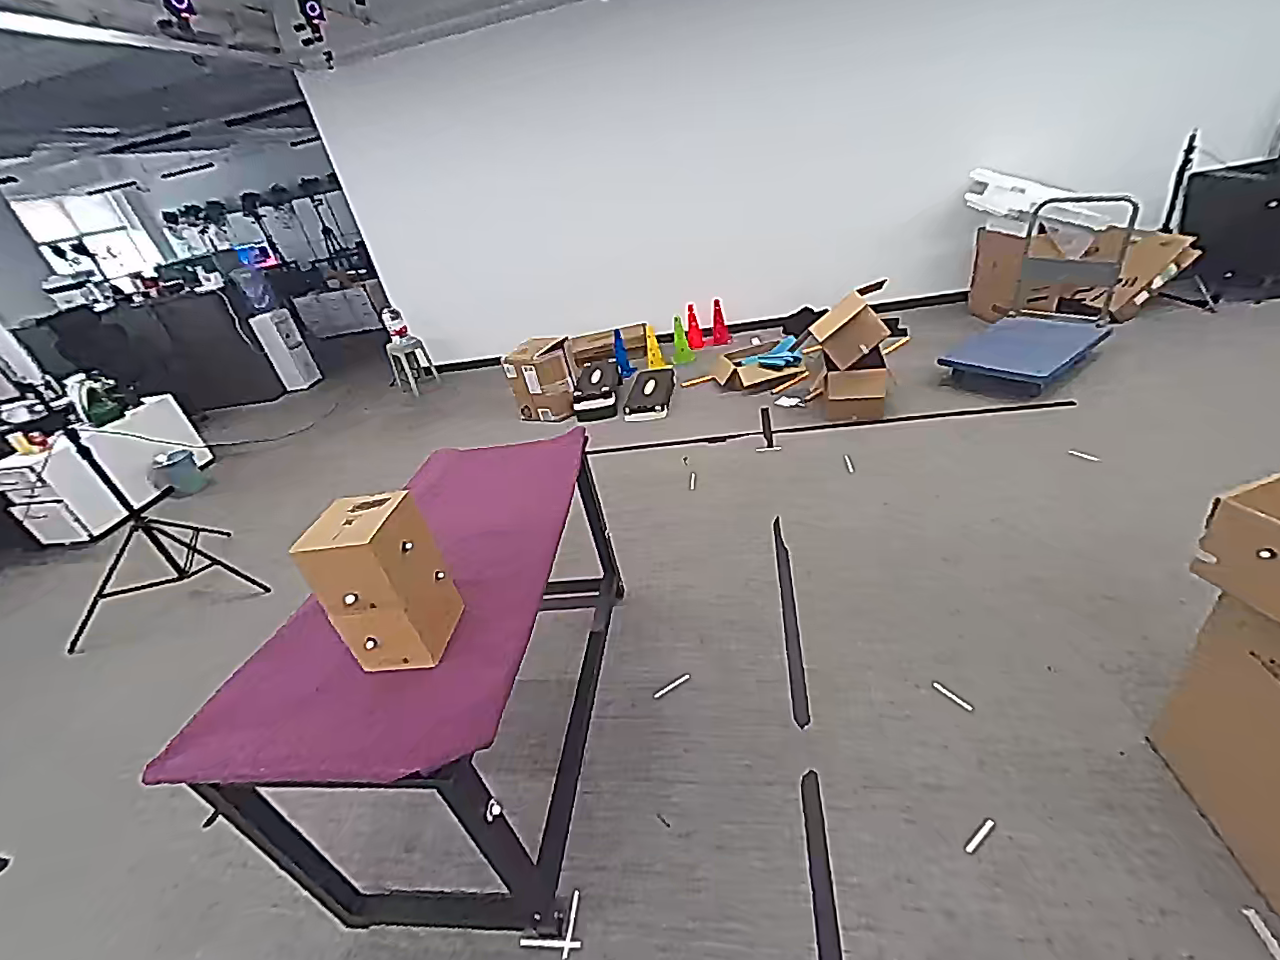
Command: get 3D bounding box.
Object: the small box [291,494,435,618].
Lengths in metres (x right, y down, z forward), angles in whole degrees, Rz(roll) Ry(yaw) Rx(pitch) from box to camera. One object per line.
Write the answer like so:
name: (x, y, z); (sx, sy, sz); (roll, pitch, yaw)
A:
small box: (-0.533, 0.150, 1.074); (0.168, 0.176, 0.179); (-7, 31, 9)

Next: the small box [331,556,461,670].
small box: (-0.508, 0.289, 1.158); (0.168, 0.176, 0.179); (-7, 31, 8)
